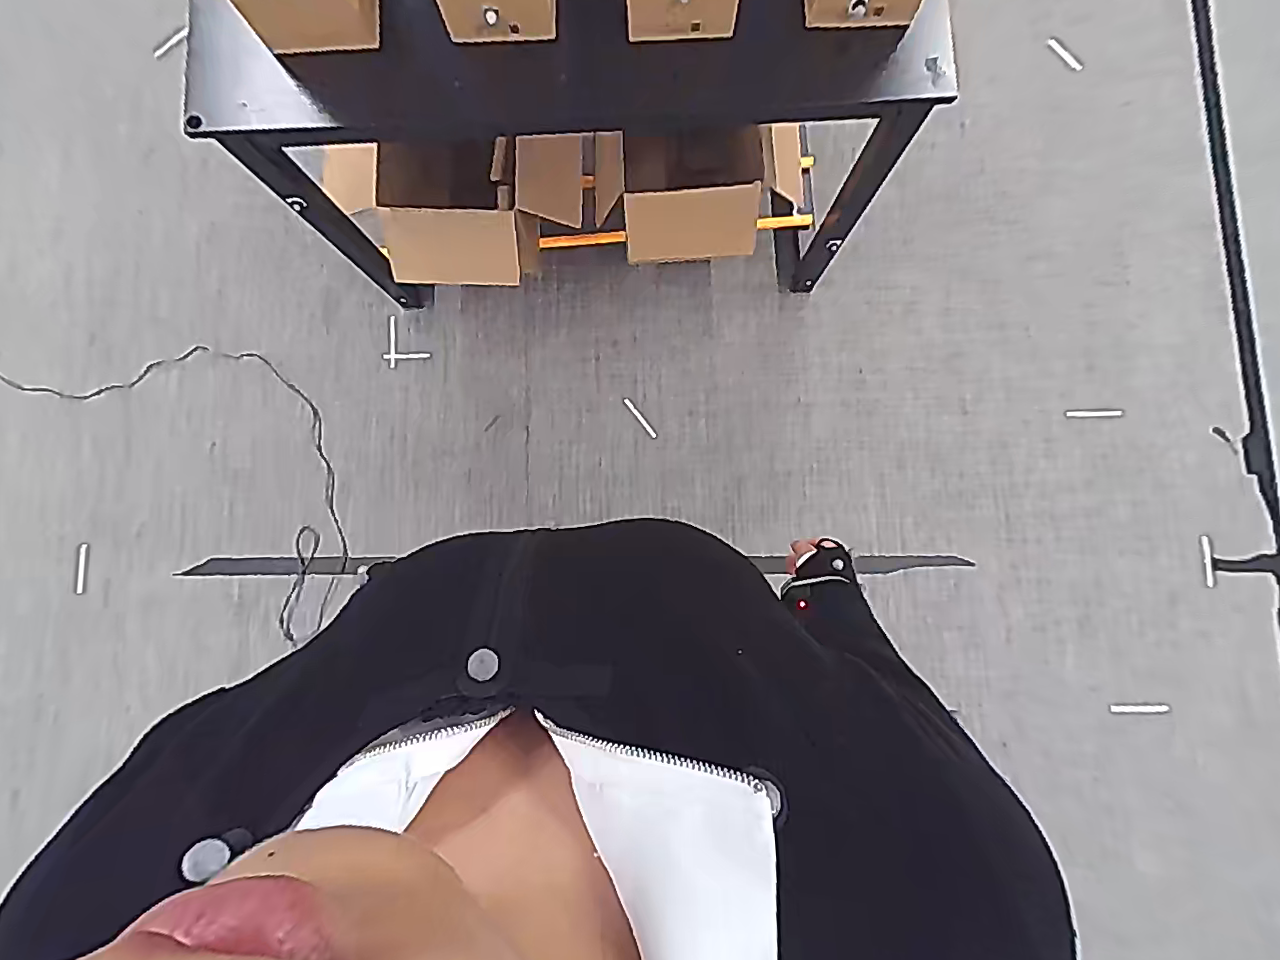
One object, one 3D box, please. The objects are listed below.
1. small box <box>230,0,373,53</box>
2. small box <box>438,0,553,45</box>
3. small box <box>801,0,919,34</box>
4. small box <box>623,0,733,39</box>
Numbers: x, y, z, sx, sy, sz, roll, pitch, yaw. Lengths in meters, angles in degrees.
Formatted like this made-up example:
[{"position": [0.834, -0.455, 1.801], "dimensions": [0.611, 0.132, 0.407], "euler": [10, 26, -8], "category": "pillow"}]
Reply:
[{"position": [-0.505, -0.767, 0.785], "dimensions": [0.179, 0.176, 0.168], "euler": [-3, 84, 0], "category": "small box"}, {"position": [-0.221, -0.785, 0.786], "dimensions": [0.168, 0.176, 0.179], "euler": [-1, 85, 1], "category": "small box"}, {"position": [0.333, -0.798, 0.780], "dimensions": [0.168, 0.176, 0.179], "euler": [-1, 85, 2], "category": "small box"}, {"position": [0.055, -0.784, 0.783], "dimensions": [0.168, 0.176, 0.179], "euler": [-2, 85, 1], "category": "small box"}]
